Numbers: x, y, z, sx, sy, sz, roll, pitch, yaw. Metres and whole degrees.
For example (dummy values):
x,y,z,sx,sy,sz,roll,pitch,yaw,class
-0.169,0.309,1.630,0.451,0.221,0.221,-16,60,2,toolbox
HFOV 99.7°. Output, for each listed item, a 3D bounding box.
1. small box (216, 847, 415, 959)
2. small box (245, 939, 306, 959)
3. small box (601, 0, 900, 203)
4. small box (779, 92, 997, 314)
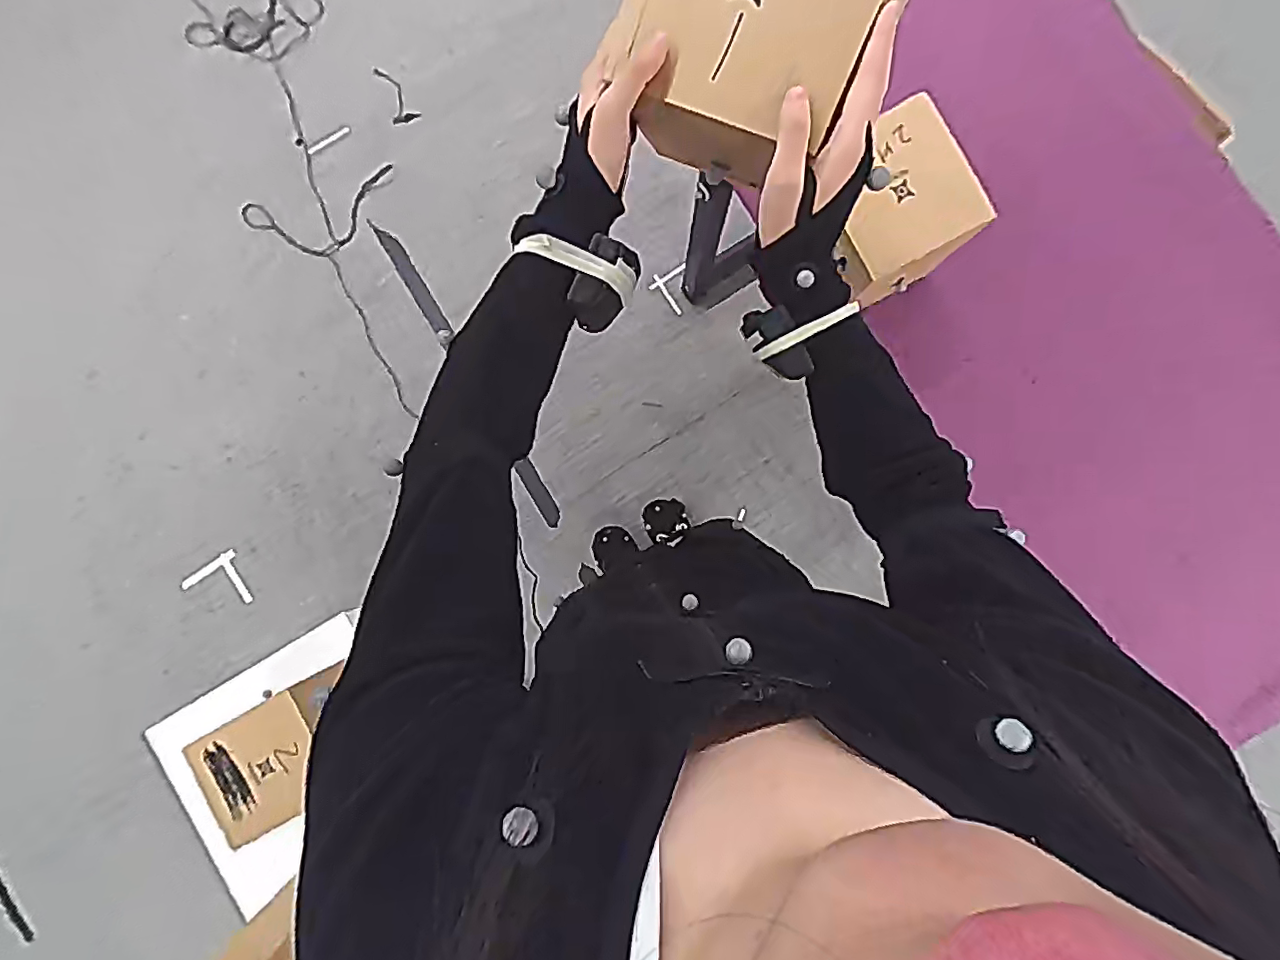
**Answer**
x,y,z,sx,sy,sz,roll,pitch,yaw,class
-0.404,0.602,0.658,0.179,0.176,0.168,-32,87,0,small box
-0.409,0.595,0.495,0.179,0.176,0.168,-32,88,-1,small box
0.095,-0.343,0.413,0.168,0.176,0.179,25,110,9,small box
0.307,-0.340,0.709,0.168,0.176,0.179,-28,87,0,small box
